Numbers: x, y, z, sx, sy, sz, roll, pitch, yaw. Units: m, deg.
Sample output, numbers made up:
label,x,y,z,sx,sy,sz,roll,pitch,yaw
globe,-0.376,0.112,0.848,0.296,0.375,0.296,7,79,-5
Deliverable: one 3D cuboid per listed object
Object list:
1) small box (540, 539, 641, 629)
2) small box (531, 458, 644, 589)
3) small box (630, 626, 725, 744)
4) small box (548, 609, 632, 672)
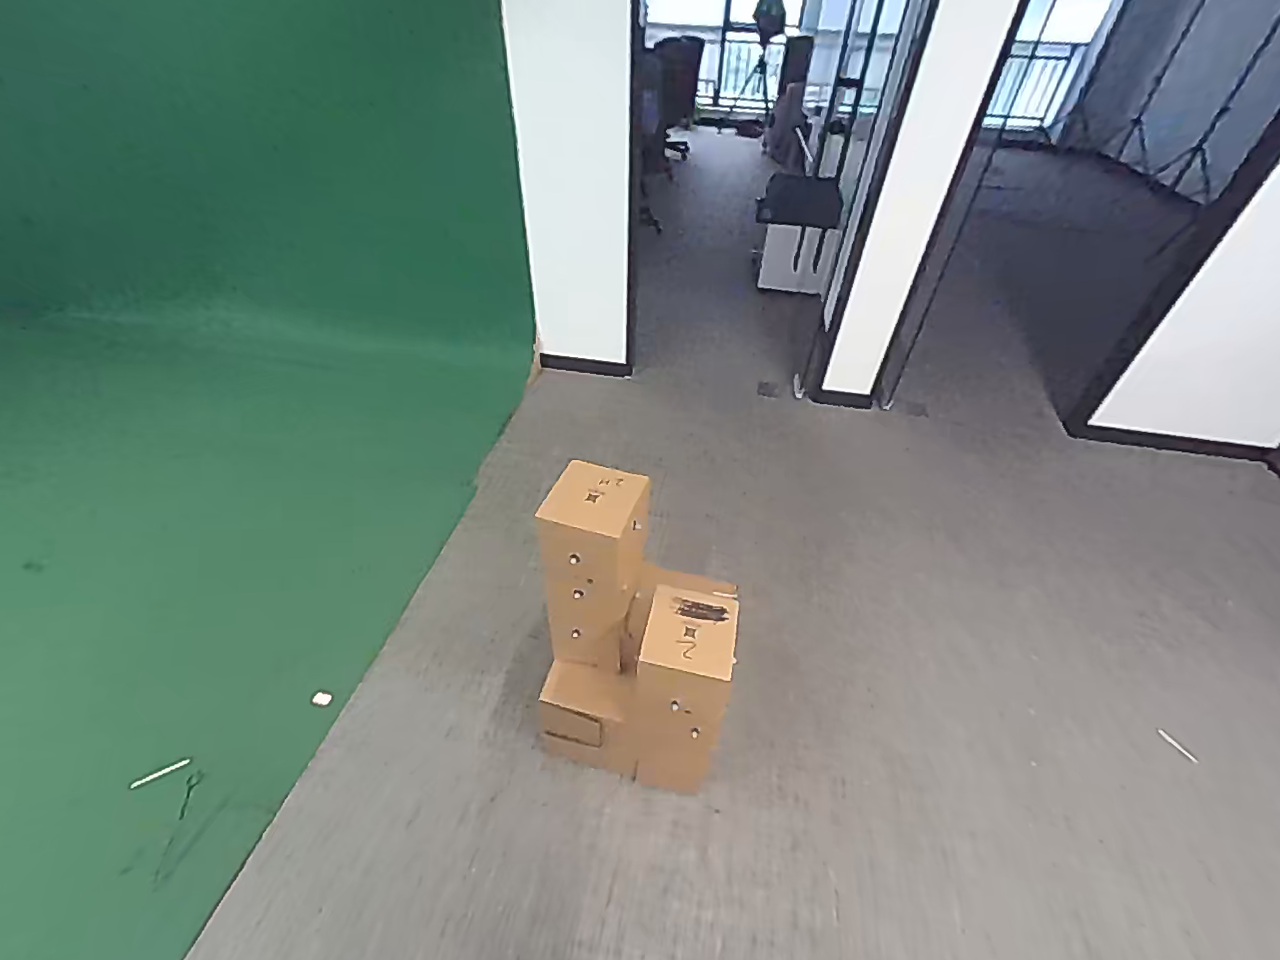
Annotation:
label,x,y,z,sx,sy,sz,roll,pitch,yaw
small box,-0.100,0.204,1.182,0.179,0.176,0.168,7,42,9
small box,-0.095,0.087,1.069,0.168,0.176,0.179,14,43,12
small box,0.080,0.447,1.172,0.179,0.176,0.168,9,42,7
small box,-0.113,0.325,1.298,0.168,0.176,0.179,10,41,9
